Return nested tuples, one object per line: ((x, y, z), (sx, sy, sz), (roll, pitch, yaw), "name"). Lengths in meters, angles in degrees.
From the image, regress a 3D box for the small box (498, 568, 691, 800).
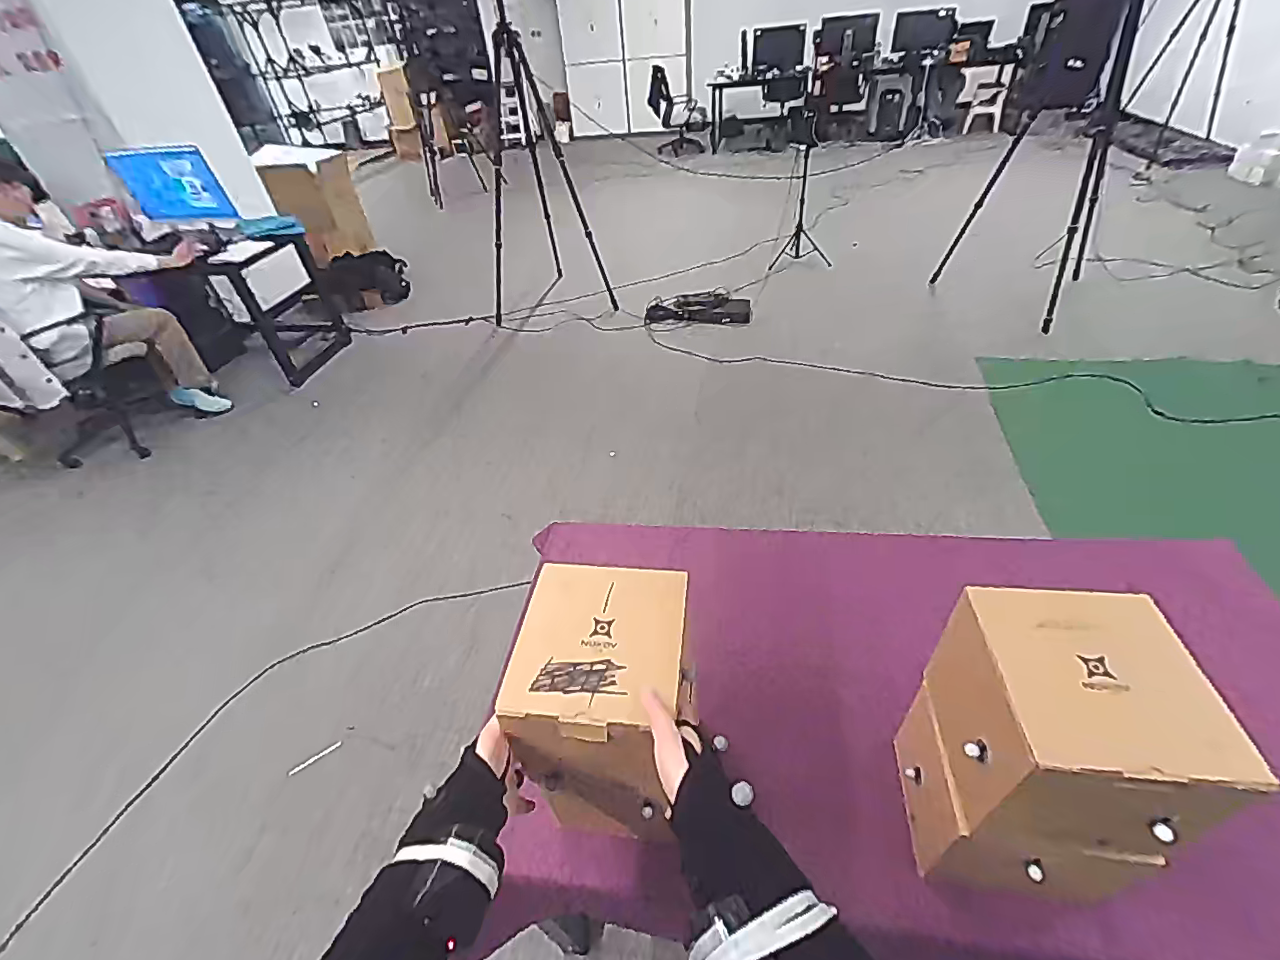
((-0.032, 0.220, 0.589), (0.168, 0.176, 0.179), (3, 40, 8), "small box")

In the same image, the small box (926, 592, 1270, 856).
((0.400, 0.233, 0.520), (0.168, 0.176, 0.179), (2, 41, 9), "small box")

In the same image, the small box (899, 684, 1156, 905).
((0.412, 0.360, 0.622), (0.179, 0.176, 0.168), (3, 42, 11), "small box")

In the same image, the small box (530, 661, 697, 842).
((-0.021, 0.343, 0.699), (0.179, 0.176, 0.168), (2, 42, 9), "small box")
